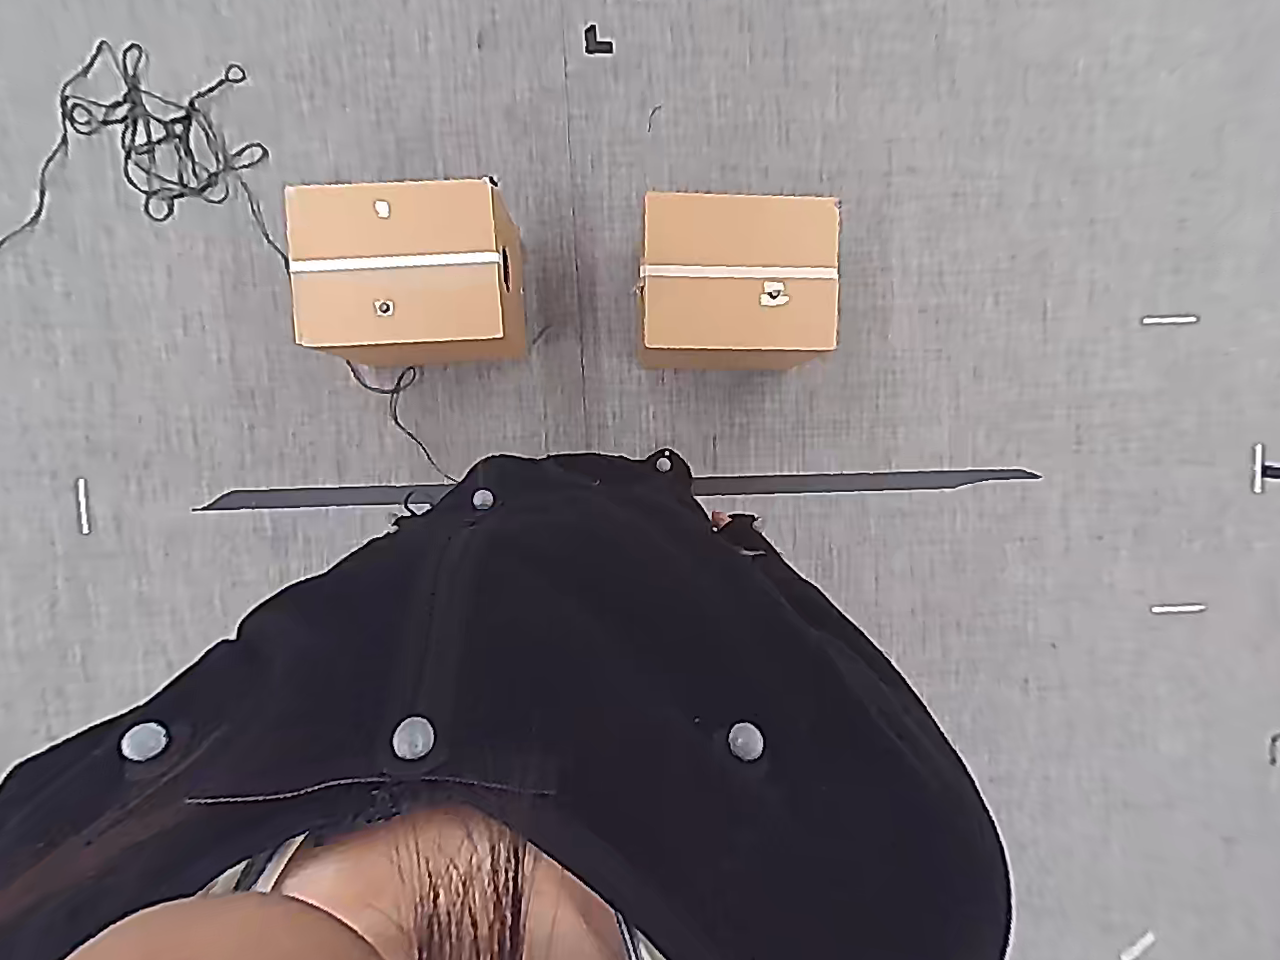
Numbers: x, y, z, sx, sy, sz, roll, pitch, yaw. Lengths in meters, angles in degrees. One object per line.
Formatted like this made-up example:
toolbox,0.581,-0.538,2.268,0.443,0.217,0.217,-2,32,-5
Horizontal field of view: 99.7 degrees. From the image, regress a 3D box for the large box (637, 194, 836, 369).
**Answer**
large box,0.201,-0.439,1.269,0.408,0.320,0.320,0,94,-4
